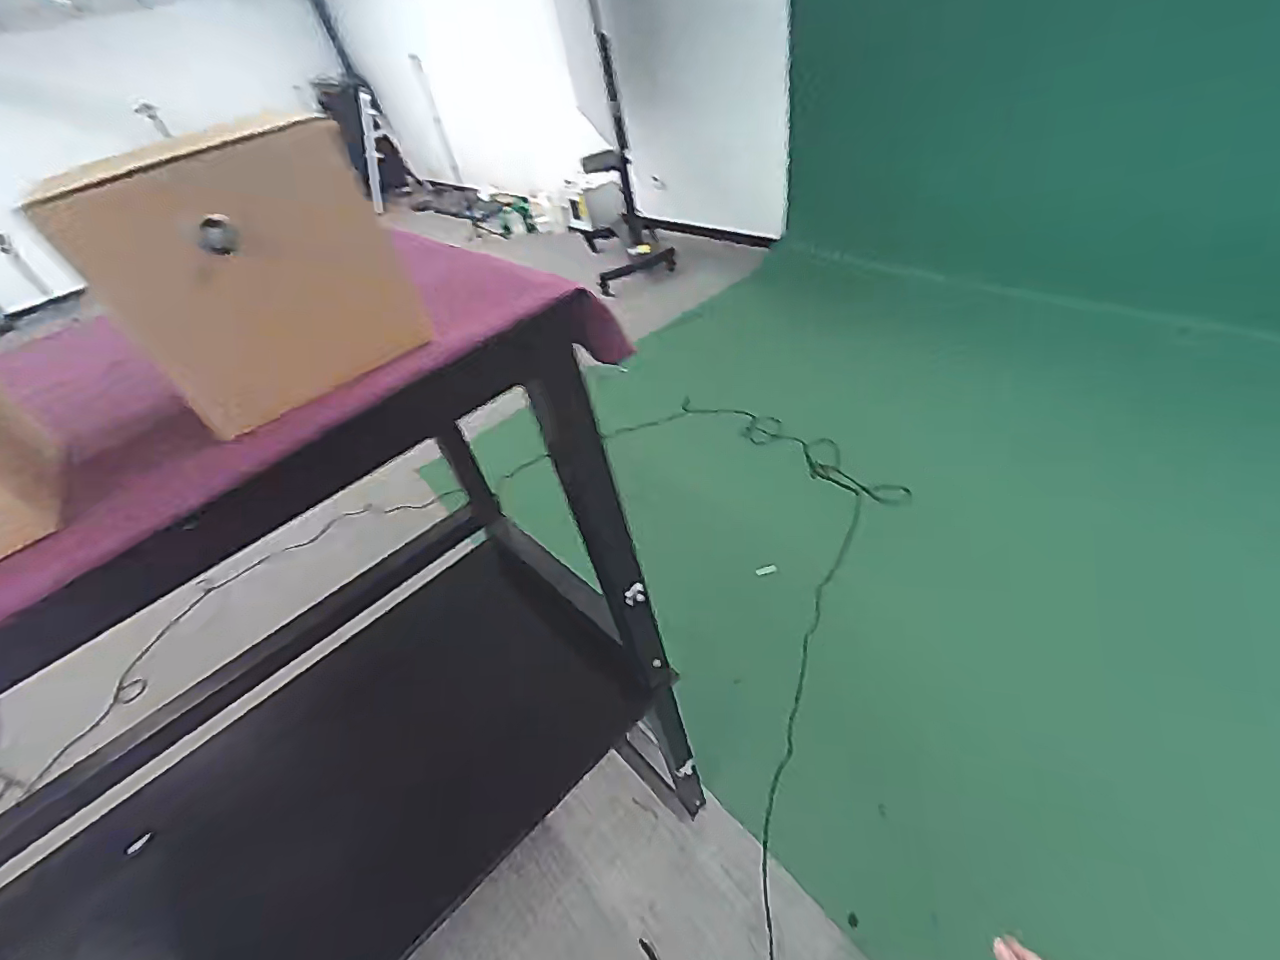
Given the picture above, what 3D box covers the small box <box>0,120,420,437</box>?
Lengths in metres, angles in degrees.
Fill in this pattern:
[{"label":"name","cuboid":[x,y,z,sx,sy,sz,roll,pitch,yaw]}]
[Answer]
[{"label":"small box","cuboid":[-0.312,-0.161,0.426,0.179,0.176,0.168,-35,47,-21]}]
